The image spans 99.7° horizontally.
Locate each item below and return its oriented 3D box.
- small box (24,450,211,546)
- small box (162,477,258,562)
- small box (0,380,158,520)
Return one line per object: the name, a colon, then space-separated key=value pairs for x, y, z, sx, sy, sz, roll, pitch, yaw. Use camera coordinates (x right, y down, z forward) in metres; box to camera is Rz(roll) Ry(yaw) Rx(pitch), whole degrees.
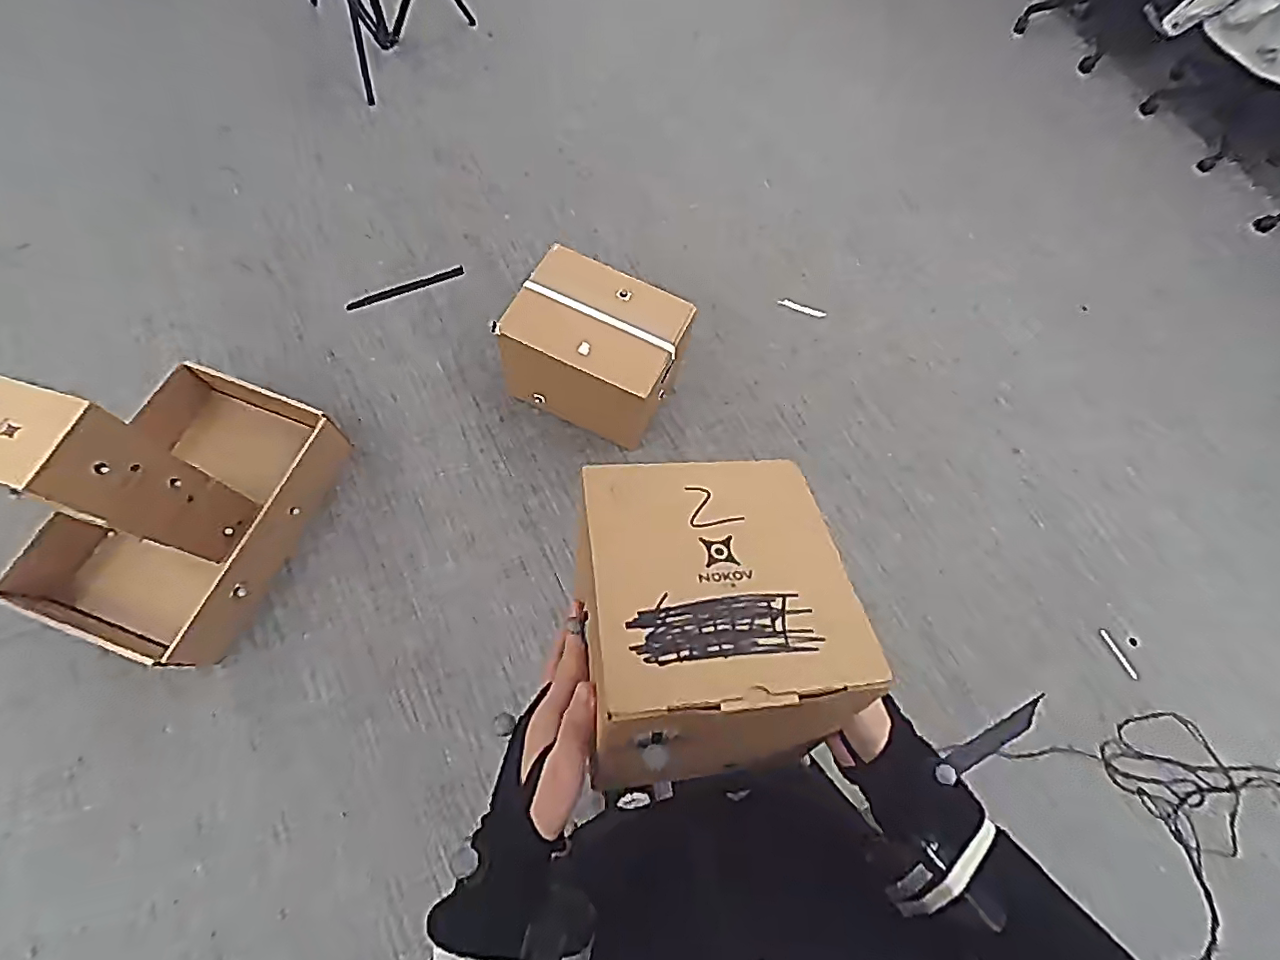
small box: x=-1.031 y=0.022 z=1.090 sx=0.179 sy=0.176 sz=0.168 roll=16 pitch=67 yaw=2
small box: x=-1.043 y=0.075 z=1.243 sx=0.179 sy=0.176 sz=0.168 roll=20 pitch=69 yaw=2
small box: x=-1.013 y=-0.042 z=0.939 sx=0.179 sy=0.176 sz=0.168 roll=16 pitch=67 yaw=0
